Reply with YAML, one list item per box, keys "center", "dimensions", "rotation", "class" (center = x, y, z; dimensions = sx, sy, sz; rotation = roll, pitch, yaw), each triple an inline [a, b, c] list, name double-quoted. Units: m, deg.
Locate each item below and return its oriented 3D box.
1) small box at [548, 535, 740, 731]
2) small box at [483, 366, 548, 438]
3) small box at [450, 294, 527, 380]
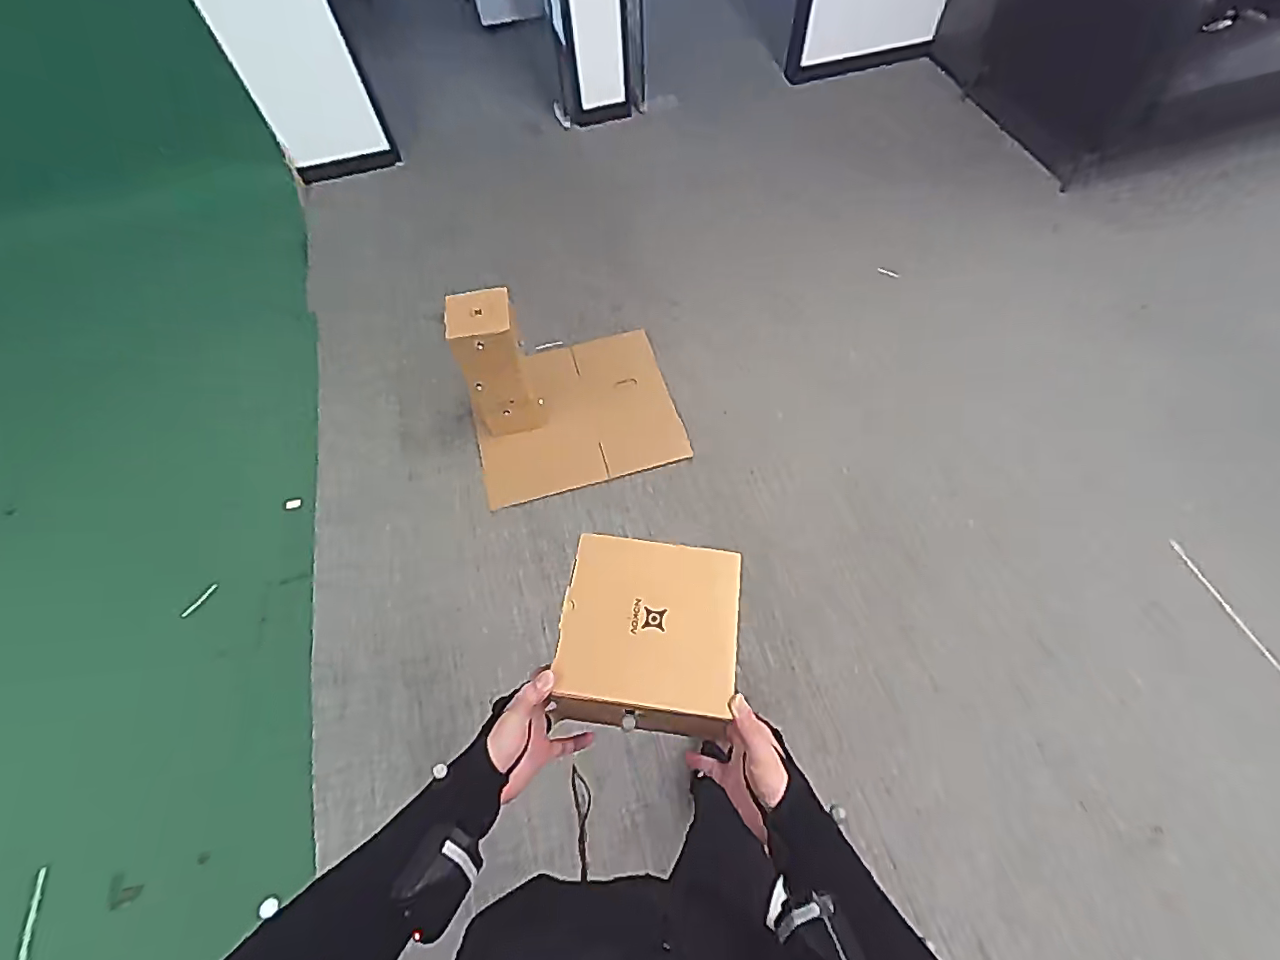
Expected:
- center: [0.012, 0.179, 0.610]
  dimensions: [0.179, 0.176, 0.168]
  rotation: [5, 59, 6]
  class: "small box"
- center: [-0.427, -0.263, 1.859]
  dimensions: [0.179, 0.176, 0.168]
  rotation: [-11, 61, -4]
  class: "small box"
- center: [-0.435, -0.408, 1.565]
  dimensions: [0.179, 0.176, 0.168]
  rotation: [-9, 62, -2]
  class: "small box"
